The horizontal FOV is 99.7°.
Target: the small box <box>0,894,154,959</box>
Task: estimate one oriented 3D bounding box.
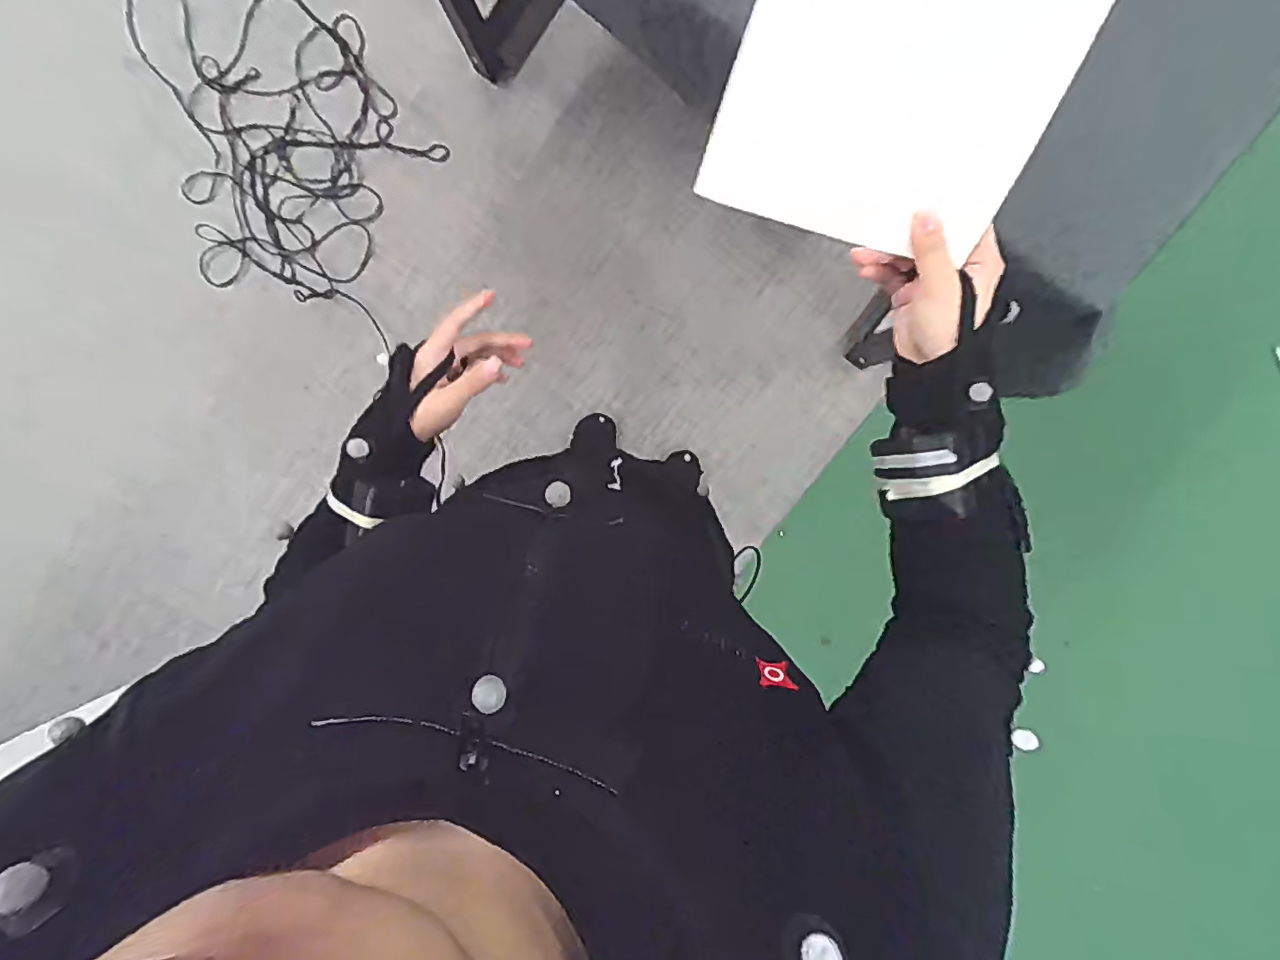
[{"bbox_3d":[-0.865,0.764,0.781,0.168,0.176,0.179,40,97,0],"label":"small box"}]
